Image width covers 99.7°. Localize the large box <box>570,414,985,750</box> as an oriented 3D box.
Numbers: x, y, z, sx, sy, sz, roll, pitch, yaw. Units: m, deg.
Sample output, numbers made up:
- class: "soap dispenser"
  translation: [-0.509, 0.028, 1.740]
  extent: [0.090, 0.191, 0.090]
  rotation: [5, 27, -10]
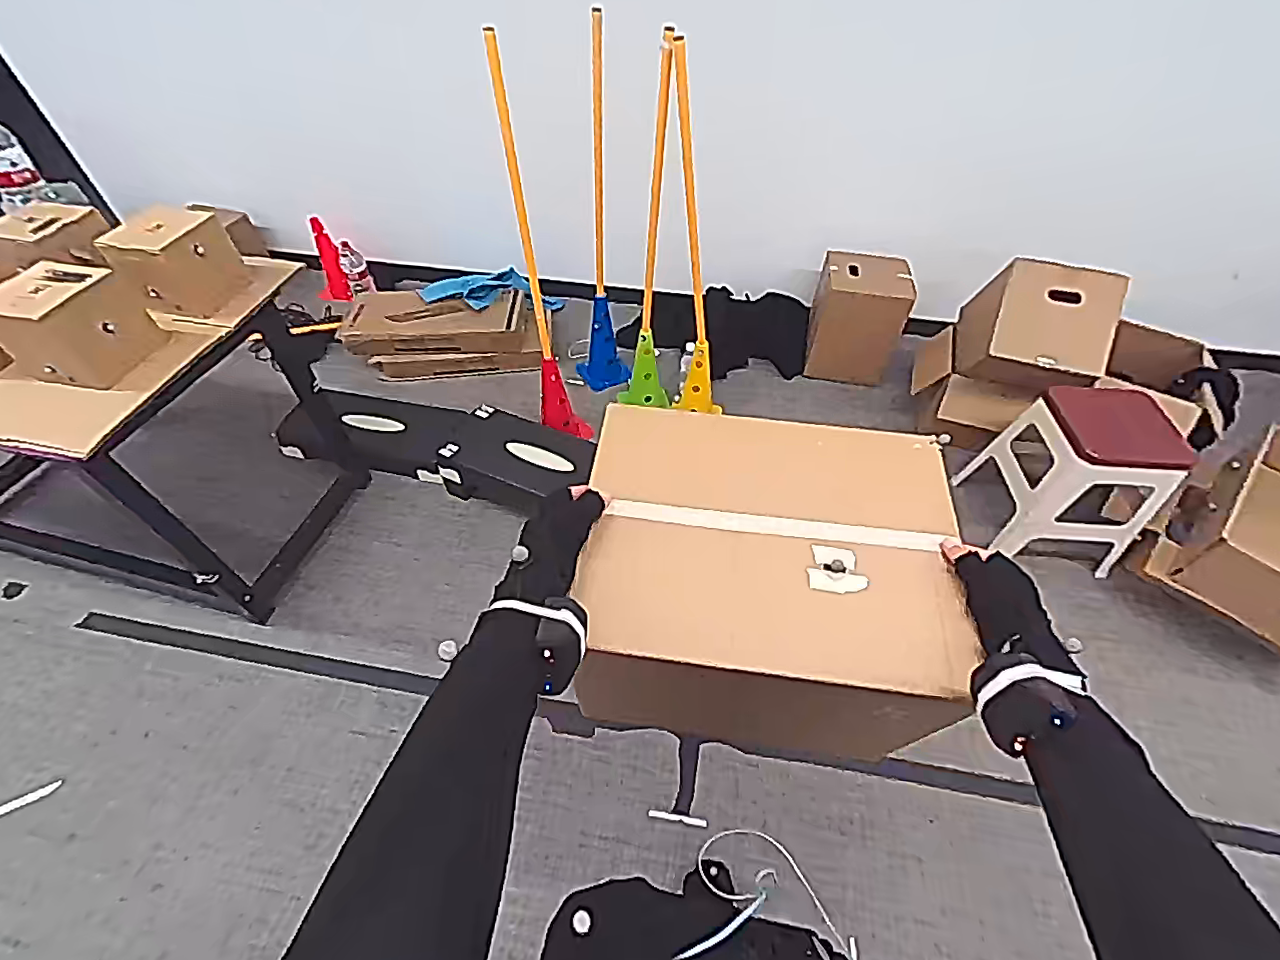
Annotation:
- class: "large box"
  translation: [0.143, 0.142, 0.720]
  extent: [0.408, 0.320, 0.320]
  rotation: [7, 56, 5]
